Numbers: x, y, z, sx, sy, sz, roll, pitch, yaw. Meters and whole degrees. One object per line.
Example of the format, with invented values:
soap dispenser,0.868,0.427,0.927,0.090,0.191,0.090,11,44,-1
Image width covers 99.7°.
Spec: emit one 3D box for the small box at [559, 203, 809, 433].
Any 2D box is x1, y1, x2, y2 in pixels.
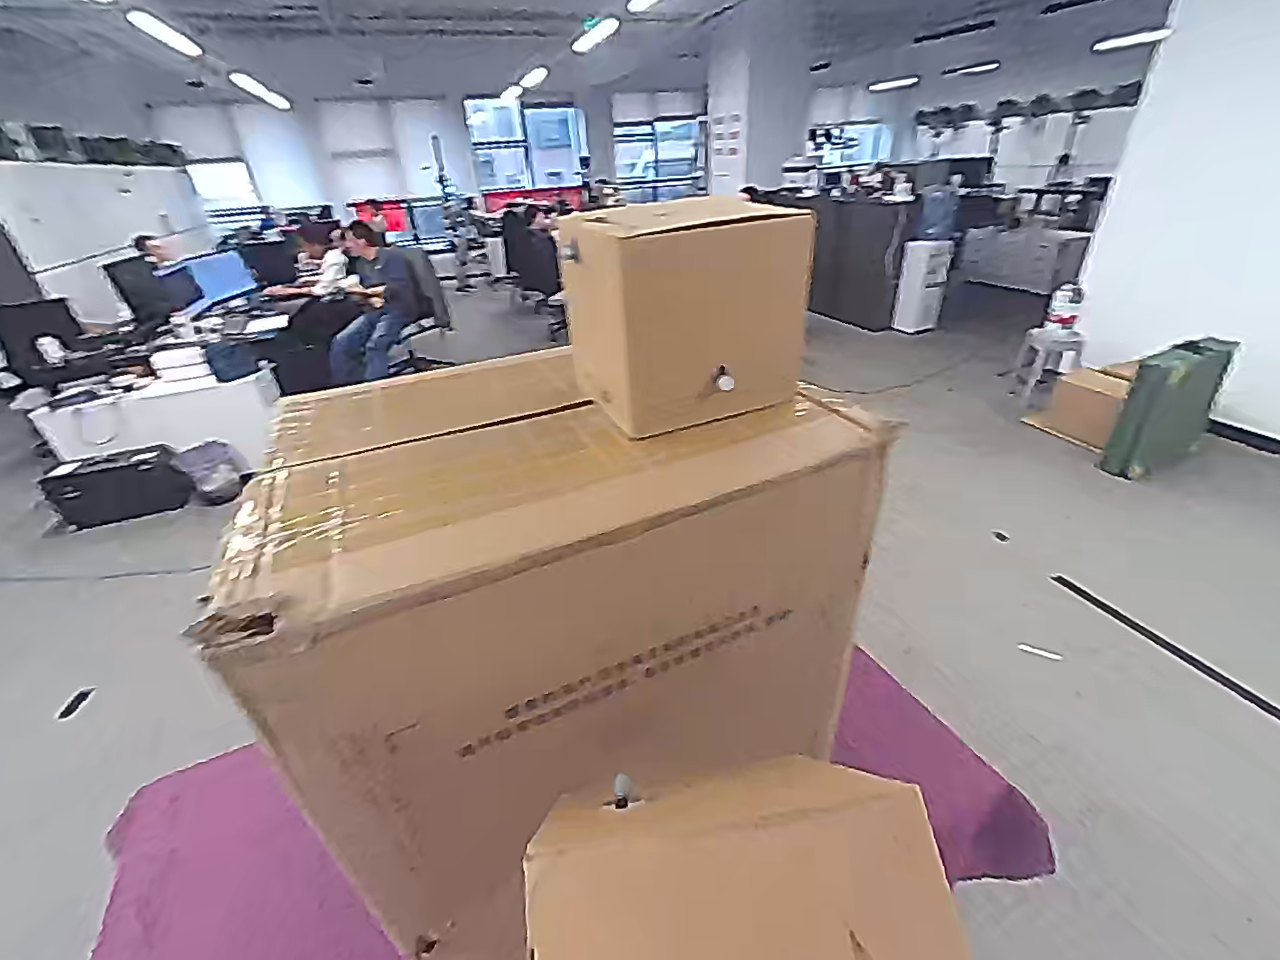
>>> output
small box,0.034,-0.164,0.523,0.179,0.176,0.168,-15,33,-18
